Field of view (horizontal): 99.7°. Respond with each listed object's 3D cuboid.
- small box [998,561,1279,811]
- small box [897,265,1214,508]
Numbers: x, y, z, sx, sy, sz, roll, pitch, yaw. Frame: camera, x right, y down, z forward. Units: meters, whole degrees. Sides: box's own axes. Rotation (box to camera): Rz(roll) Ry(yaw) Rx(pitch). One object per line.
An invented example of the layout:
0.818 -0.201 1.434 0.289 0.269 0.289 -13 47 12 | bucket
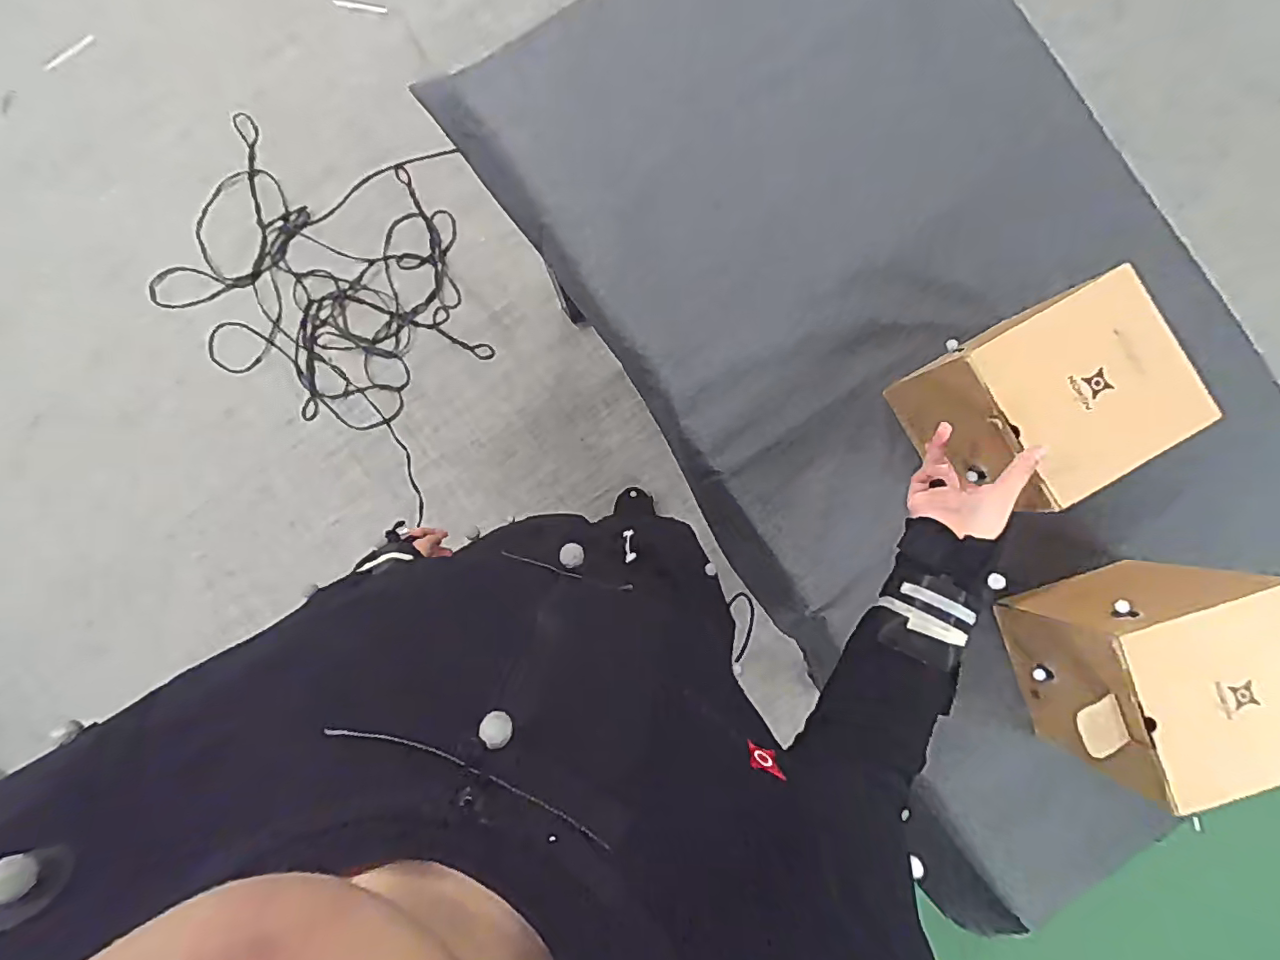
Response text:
0.525 0.191 0.558 0.179 0.176 0.168 -18 88 -1 | small box
0.404 -0.081 0.568 0.179 0.176 0.168 -31 90 -3 | small box
